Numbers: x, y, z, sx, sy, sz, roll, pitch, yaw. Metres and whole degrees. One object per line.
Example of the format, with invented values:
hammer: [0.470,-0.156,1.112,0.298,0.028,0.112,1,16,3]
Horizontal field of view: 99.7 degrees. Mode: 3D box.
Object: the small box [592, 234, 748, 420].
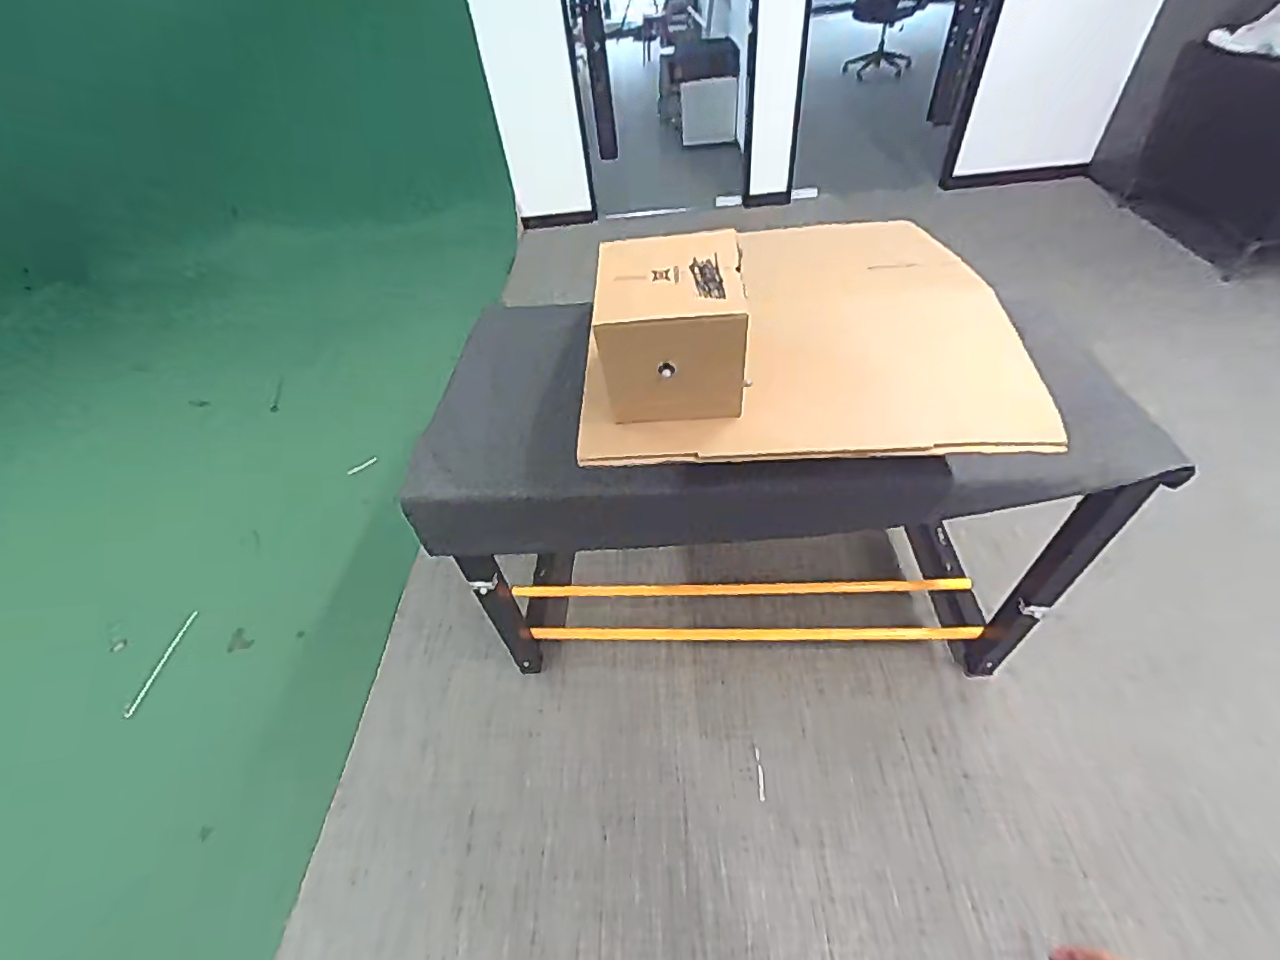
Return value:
small box: [0.043,-0.194,0.710,0.179,0.176,0.168,-3,55,6]
